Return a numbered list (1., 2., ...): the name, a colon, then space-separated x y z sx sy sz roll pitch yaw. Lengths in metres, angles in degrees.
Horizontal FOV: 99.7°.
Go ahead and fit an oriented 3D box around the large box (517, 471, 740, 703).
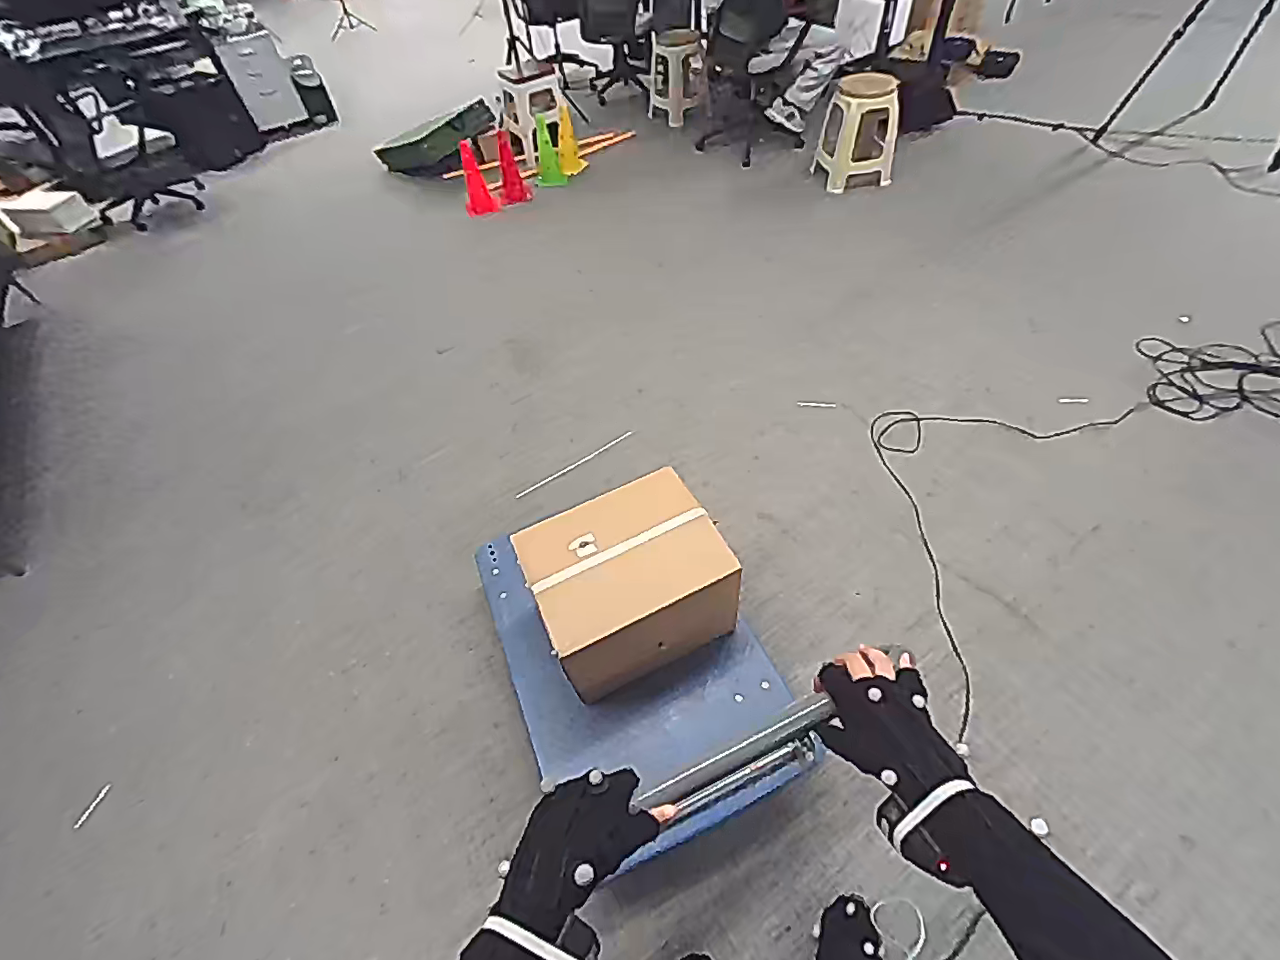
1. large box: -0.017 0.251 1.270 0.408 0.320 0.320 -25 52 -11
